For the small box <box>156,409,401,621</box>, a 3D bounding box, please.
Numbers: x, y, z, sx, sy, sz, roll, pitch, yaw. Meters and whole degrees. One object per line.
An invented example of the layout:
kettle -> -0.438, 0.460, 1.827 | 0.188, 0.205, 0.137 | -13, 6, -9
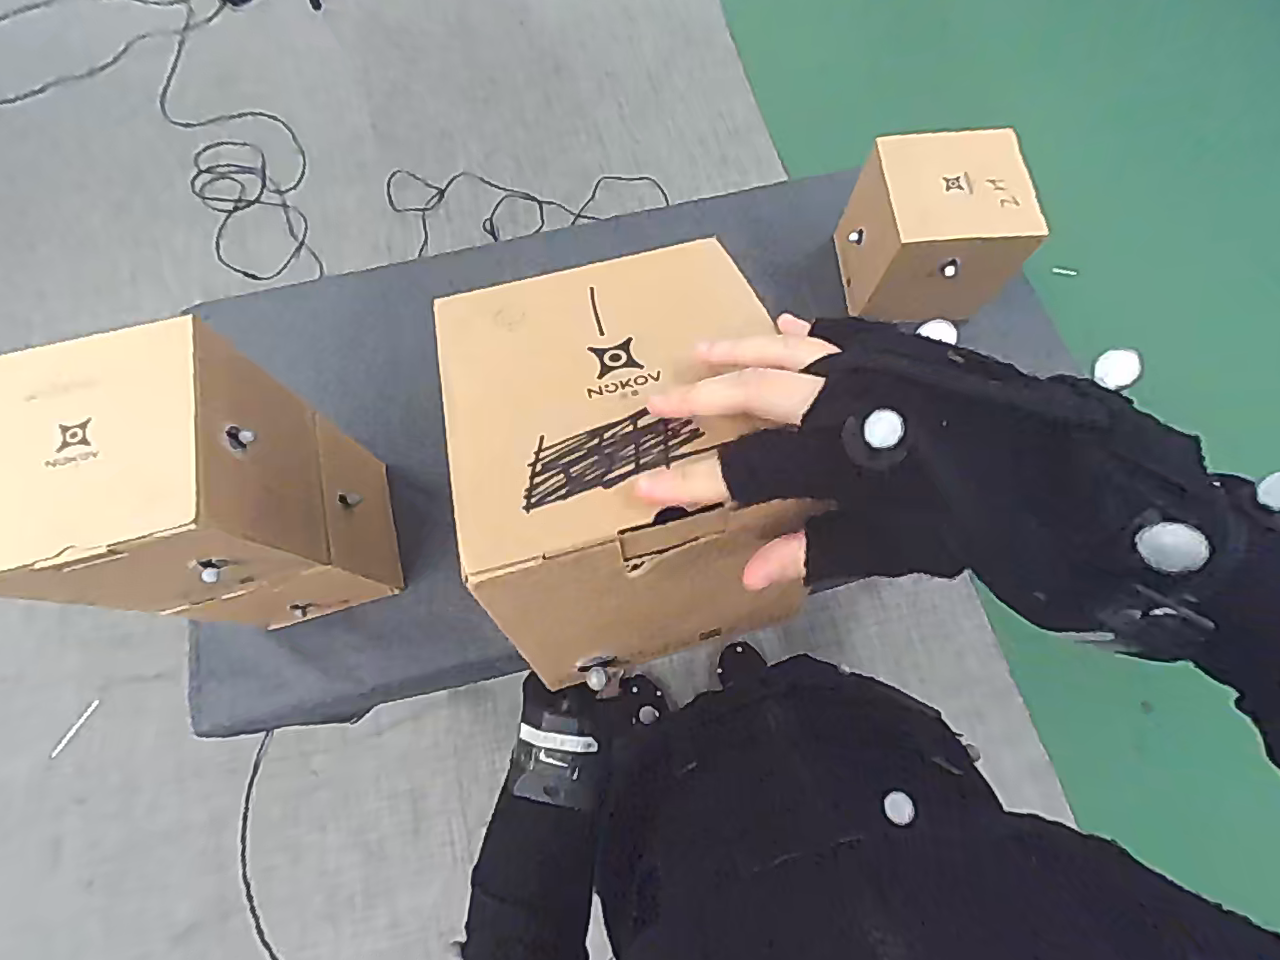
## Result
small box -> -0.393, 0.049, 0.611 | 0.168, 0.176, 0.179 | -16, 72, -5

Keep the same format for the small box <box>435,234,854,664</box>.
small box -> -0.006, -0.008, 0.320 | 0.168, 0.176, 0.179 | -15, 55, -6

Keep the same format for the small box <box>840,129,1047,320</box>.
small box -> 0.383, -0.331, 0.725 | 0.179, 0.176, 0.168 | -2, 72, 0

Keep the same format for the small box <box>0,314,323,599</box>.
small box -> -0.395, -0.004, 0.457 | 0.168, 0.176, 0.179 | -14, 72, -5
